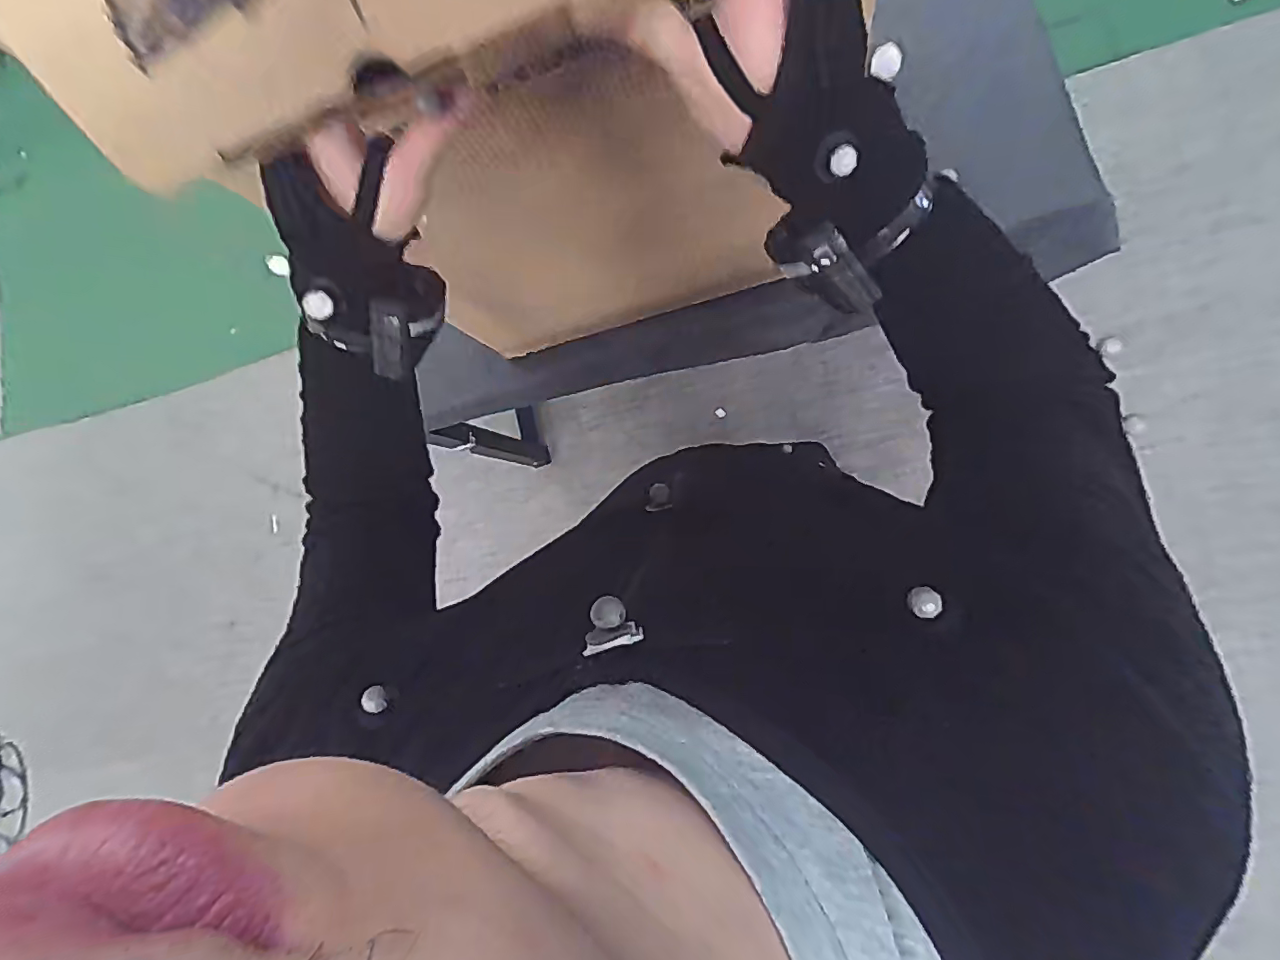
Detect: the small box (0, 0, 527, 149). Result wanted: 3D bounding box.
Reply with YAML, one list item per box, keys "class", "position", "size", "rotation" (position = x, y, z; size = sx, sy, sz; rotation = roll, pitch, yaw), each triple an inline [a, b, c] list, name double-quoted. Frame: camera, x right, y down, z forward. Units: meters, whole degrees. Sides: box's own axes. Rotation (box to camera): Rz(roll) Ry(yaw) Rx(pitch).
- class: "small box"
  position: [-0.083, -0.218, 0.129]
  size: [0.168, 0.179, 0.176]
  rotation: [-11, 41, 15]
